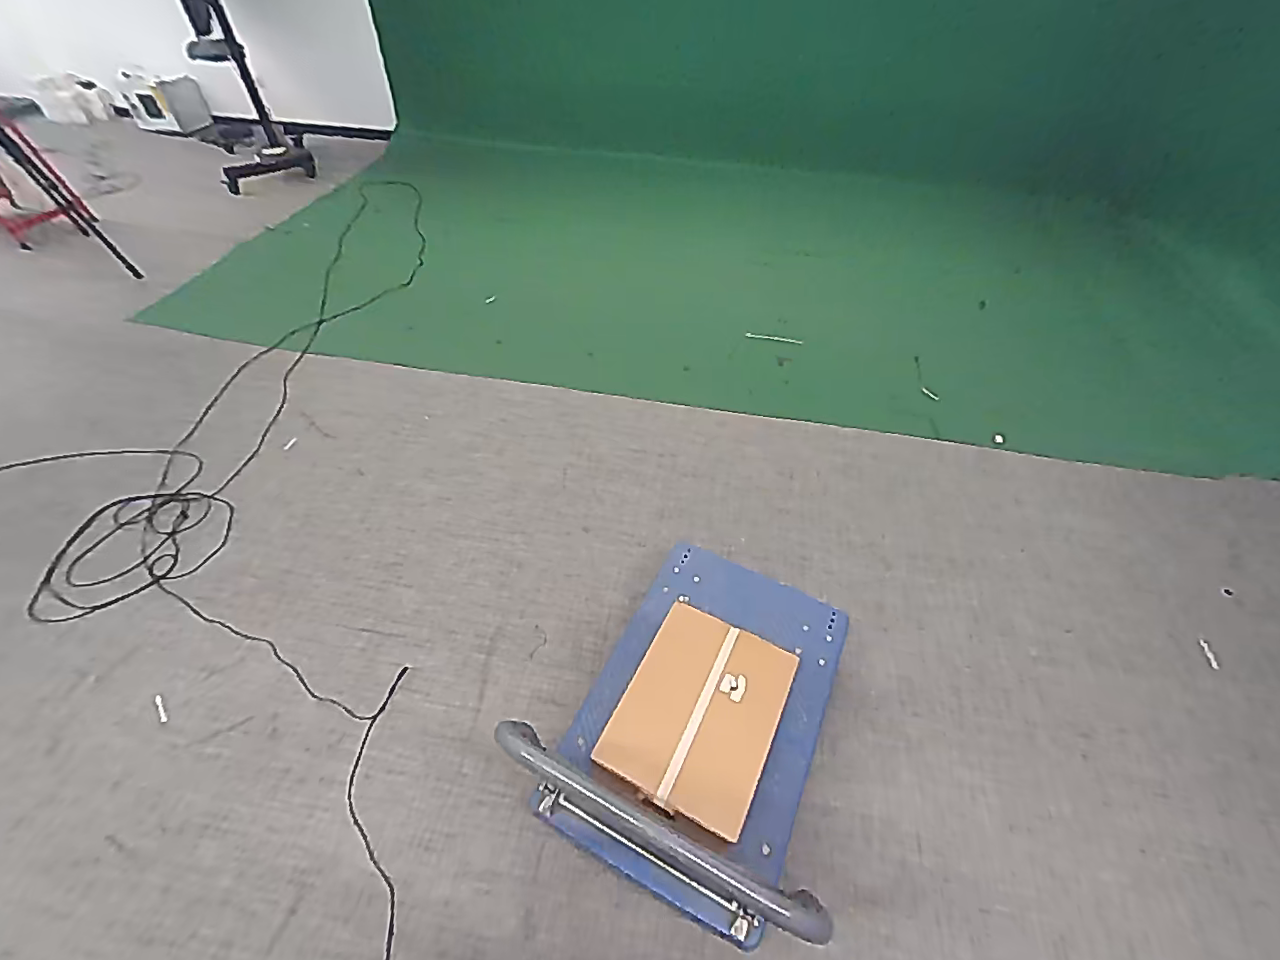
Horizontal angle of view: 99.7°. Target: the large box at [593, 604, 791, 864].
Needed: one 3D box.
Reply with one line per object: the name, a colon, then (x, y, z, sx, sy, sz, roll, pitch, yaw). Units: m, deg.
large box: (0.121, 0.585, 1.268, 0.320, 0.320, 0.408, 23, 50, 17)
